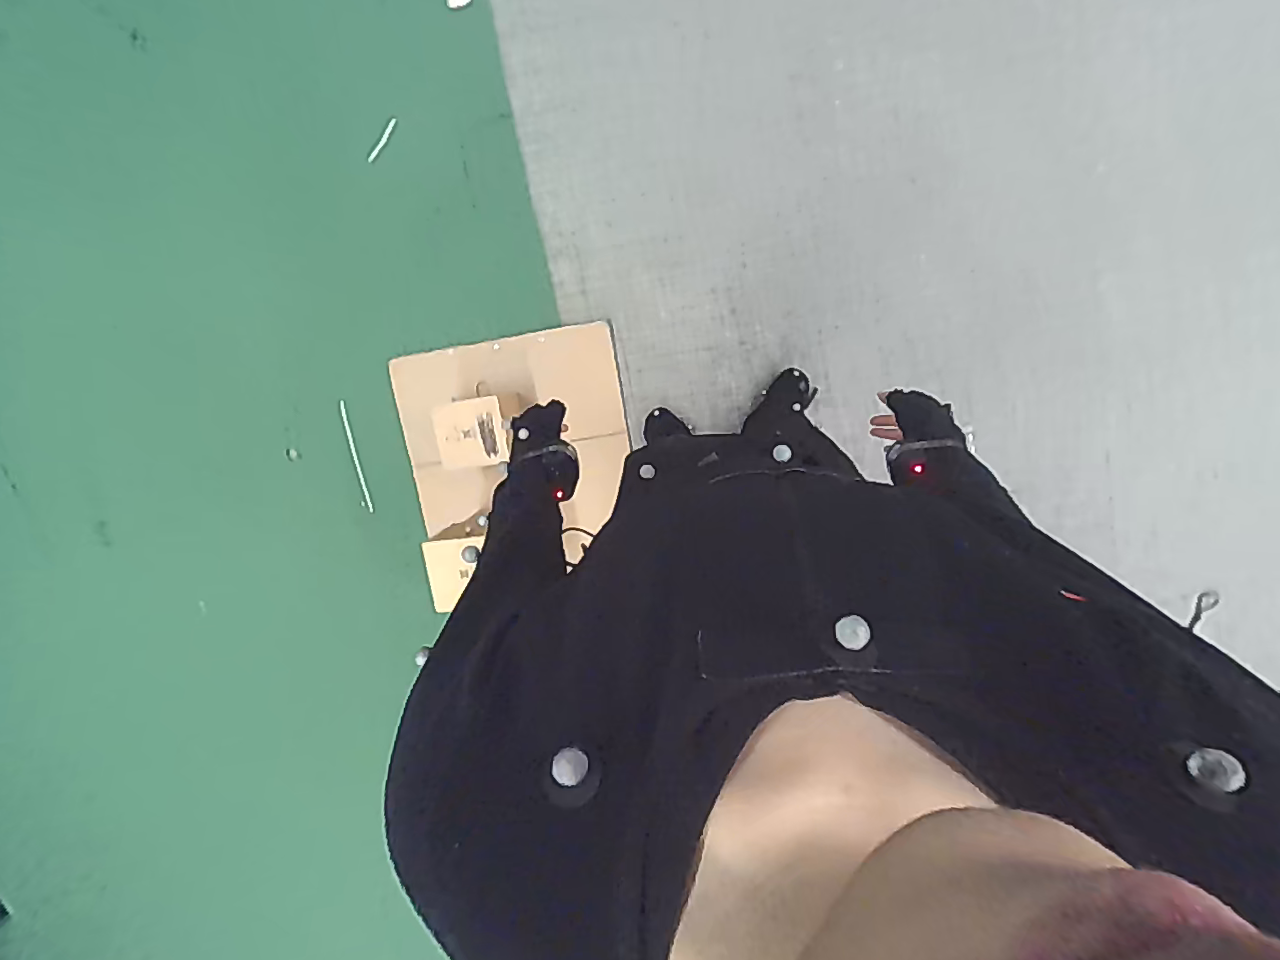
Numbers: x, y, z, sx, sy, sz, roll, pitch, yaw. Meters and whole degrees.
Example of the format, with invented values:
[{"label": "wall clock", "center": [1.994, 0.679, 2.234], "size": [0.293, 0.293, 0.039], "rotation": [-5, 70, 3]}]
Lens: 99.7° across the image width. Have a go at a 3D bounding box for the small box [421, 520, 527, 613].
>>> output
[{"label": "small box", "center": [-0.379, 0.197, 1.263], "size": [0.179, 0.176, 0.168], "rotation": [-7, 99, 4]}]
